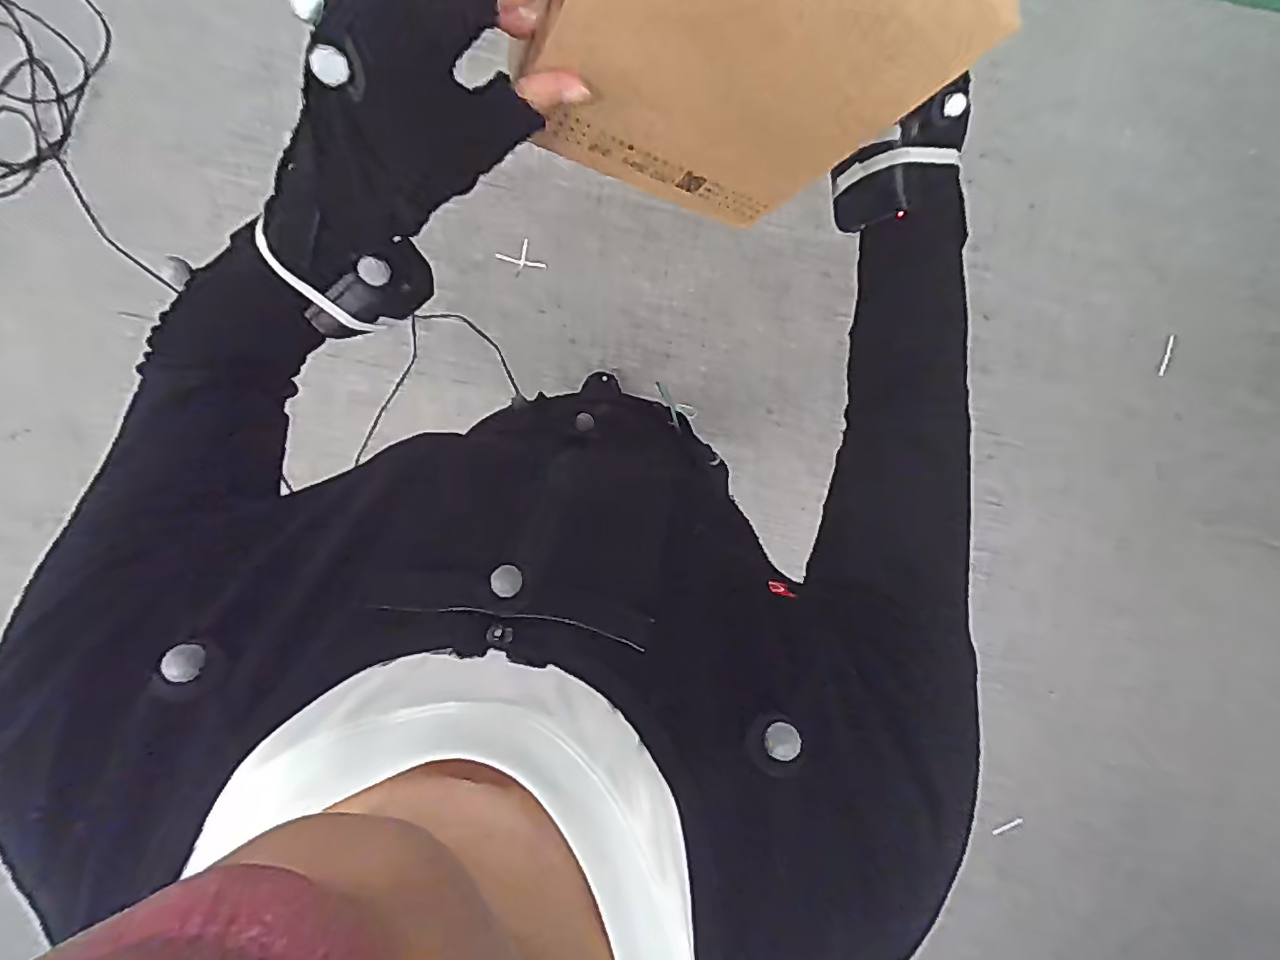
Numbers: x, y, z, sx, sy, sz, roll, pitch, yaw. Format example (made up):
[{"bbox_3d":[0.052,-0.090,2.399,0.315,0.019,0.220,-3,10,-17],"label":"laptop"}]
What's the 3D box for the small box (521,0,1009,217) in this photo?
[{"bbox_3d":[0.047,-0.275,0.269,0.168,0.176,0.179,5,81,-31],"label":"small box"}]
